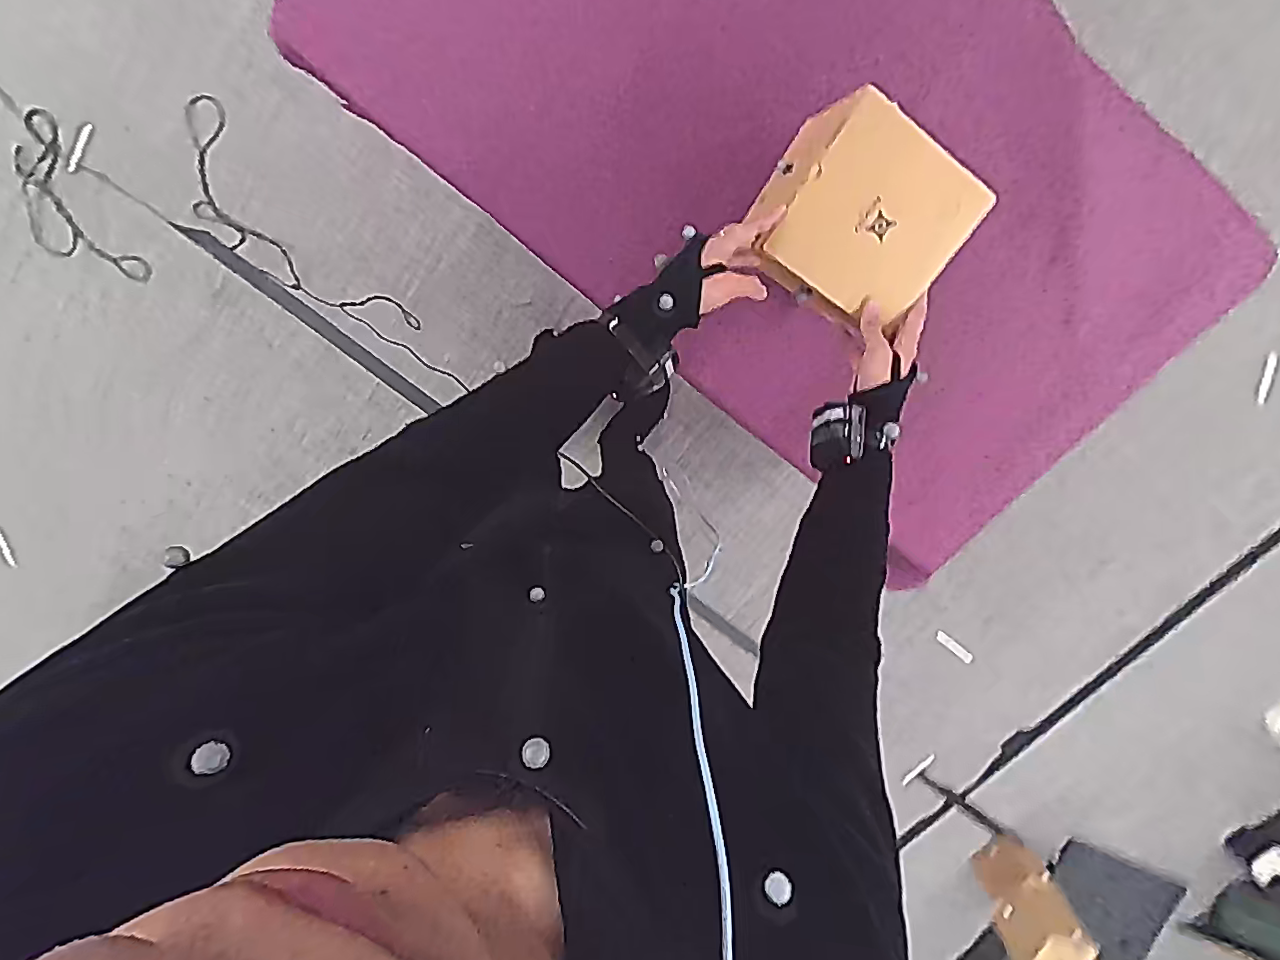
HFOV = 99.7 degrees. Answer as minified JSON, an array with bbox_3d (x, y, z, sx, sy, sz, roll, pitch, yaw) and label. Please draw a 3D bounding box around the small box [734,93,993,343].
[{"bbox_3d":[0.231,-0.284,0.608,0.179,0.176,0.168,29,111,-13],"label":"small box"}]
